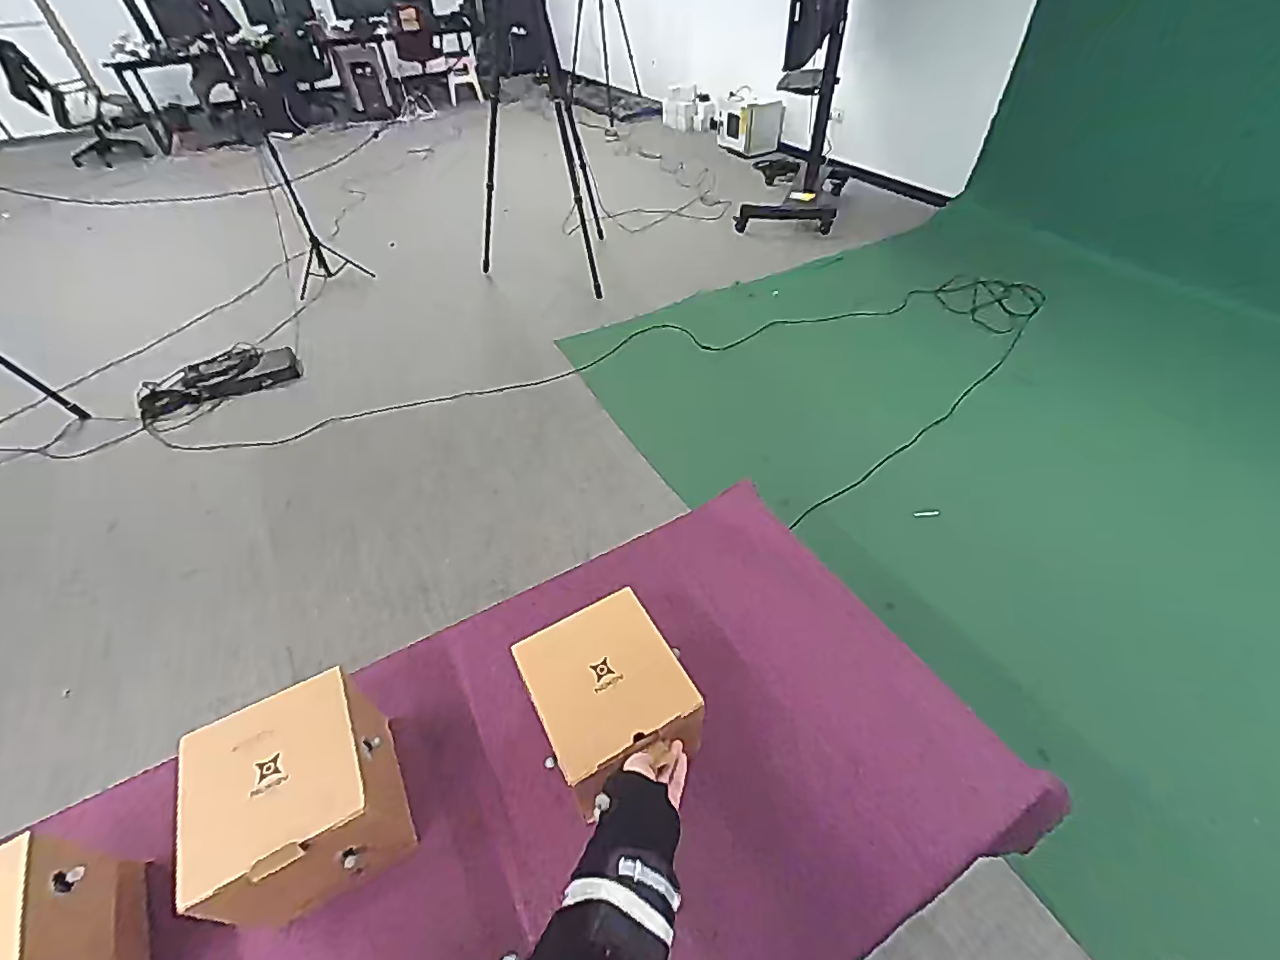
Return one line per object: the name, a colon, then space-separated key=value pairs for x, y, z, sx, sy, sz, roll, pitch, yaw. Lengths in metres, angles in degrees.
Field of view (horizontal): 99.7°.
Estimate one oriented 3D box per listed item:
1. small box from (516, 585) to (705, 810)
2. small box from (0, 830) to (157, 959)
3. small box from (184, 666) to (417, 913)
small box: x=-0.037 y=0.273 z=0.680 sx=0.168 sy=0.176 sz=0.179 roll=-24 pitch=51 yaw=-18
small box: x=-0.604 y=0.483 z=0.511 sx=0.168 sy=0.176 sz=0.179 roll=-28 pitch=52 yaw=-22
small box: x=-0.377 y=0.357 z=0.621 sx=0.168 sy=0.176 sz=0.179 roll=-23 pitch=50 yaw=-19
